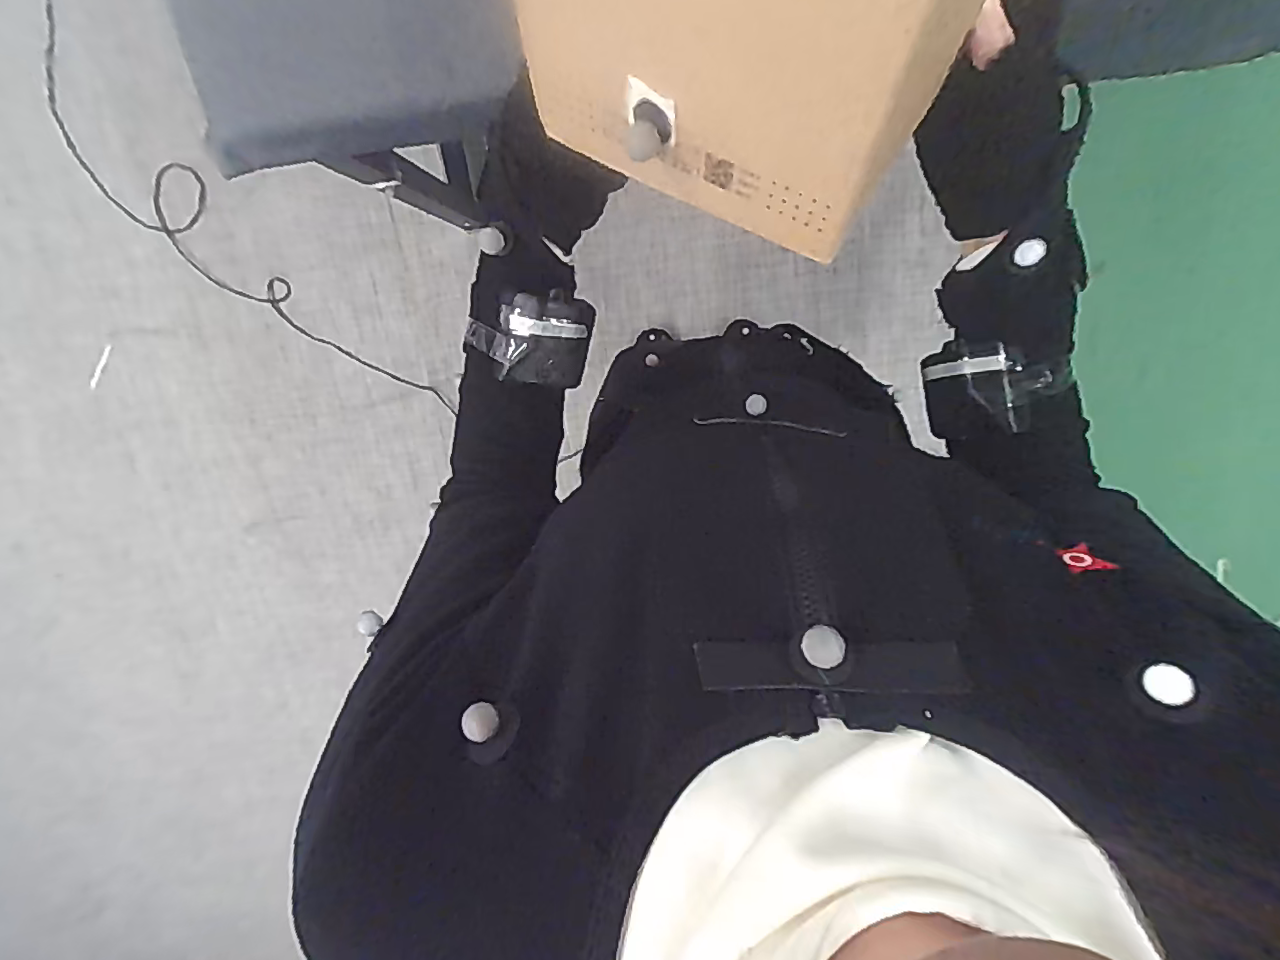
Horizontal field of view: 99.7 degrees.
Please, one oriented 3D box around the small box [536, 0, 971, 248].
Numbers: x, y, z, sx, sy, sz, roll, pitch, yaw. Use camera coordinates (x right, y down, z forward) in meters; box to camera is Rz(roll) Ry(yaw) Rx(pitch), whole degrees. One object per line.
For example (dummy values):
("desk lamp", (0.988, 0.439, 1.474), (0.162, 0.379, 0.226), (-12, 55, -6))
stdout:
("small box", (0.060, -0.241, 0.224), (0.168, 0.176, 0.179), (29, 75, 12))
